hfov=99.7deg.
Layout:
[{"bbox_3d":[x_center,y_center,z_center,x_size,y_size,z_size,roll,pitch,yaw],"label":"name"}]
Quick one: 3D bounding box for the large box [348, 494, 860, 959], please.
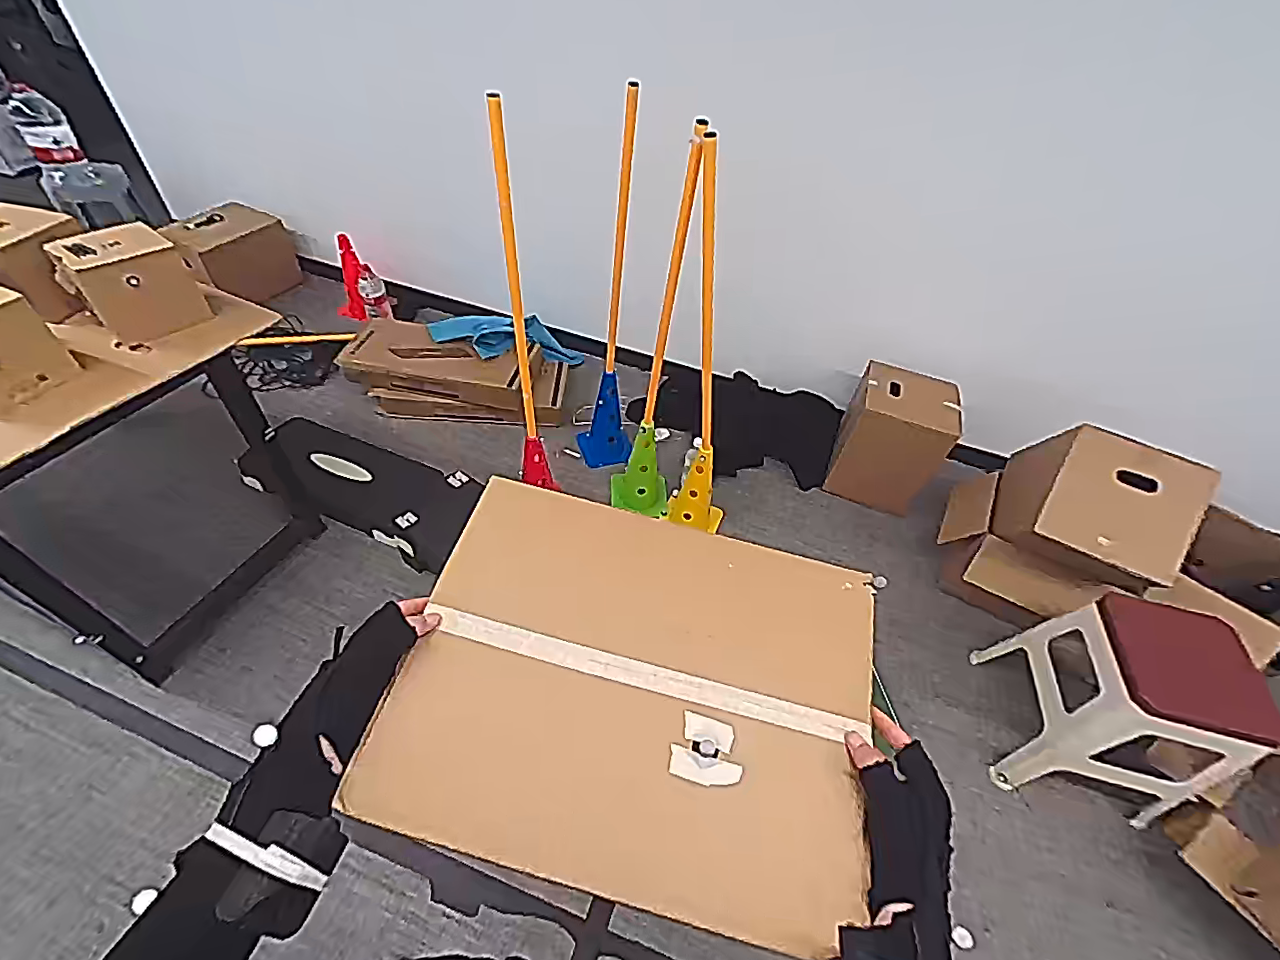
[{"bbox_3d":[-0.016,0.263,0.609,0.408,0.320,0.320,15,57,3],"label":"large box"}]
